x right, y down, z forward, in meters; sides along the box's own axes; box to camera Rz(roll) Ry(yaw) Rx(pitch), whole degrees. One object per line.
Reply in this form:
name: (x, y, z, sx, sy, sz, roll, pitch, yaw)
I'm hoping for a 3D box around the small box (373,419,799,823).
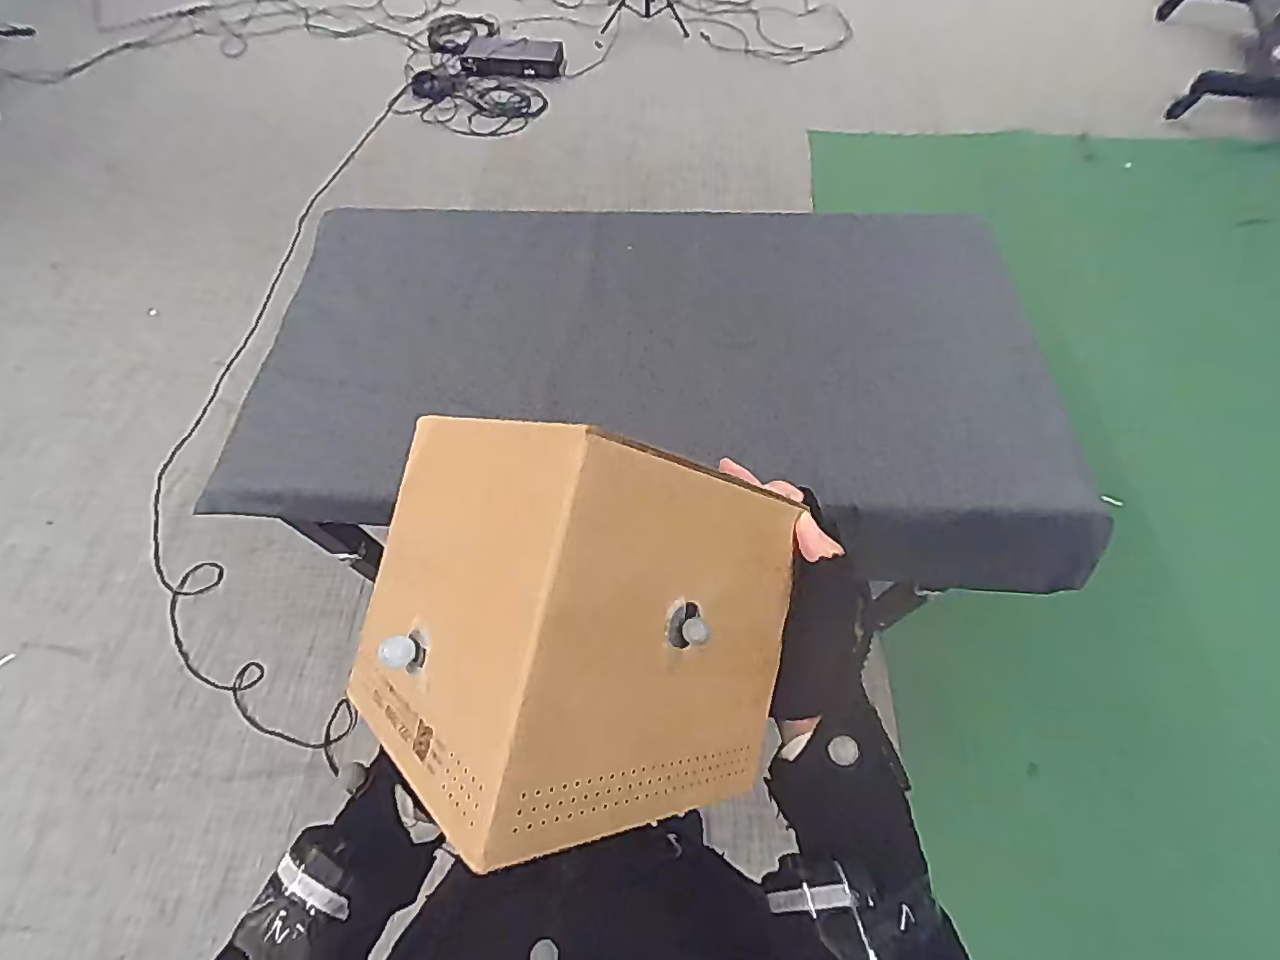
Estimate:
small box: (-0.033, 0.069, 0.330, 0.168, 0.179, 0.176, 8, 84, 48)
